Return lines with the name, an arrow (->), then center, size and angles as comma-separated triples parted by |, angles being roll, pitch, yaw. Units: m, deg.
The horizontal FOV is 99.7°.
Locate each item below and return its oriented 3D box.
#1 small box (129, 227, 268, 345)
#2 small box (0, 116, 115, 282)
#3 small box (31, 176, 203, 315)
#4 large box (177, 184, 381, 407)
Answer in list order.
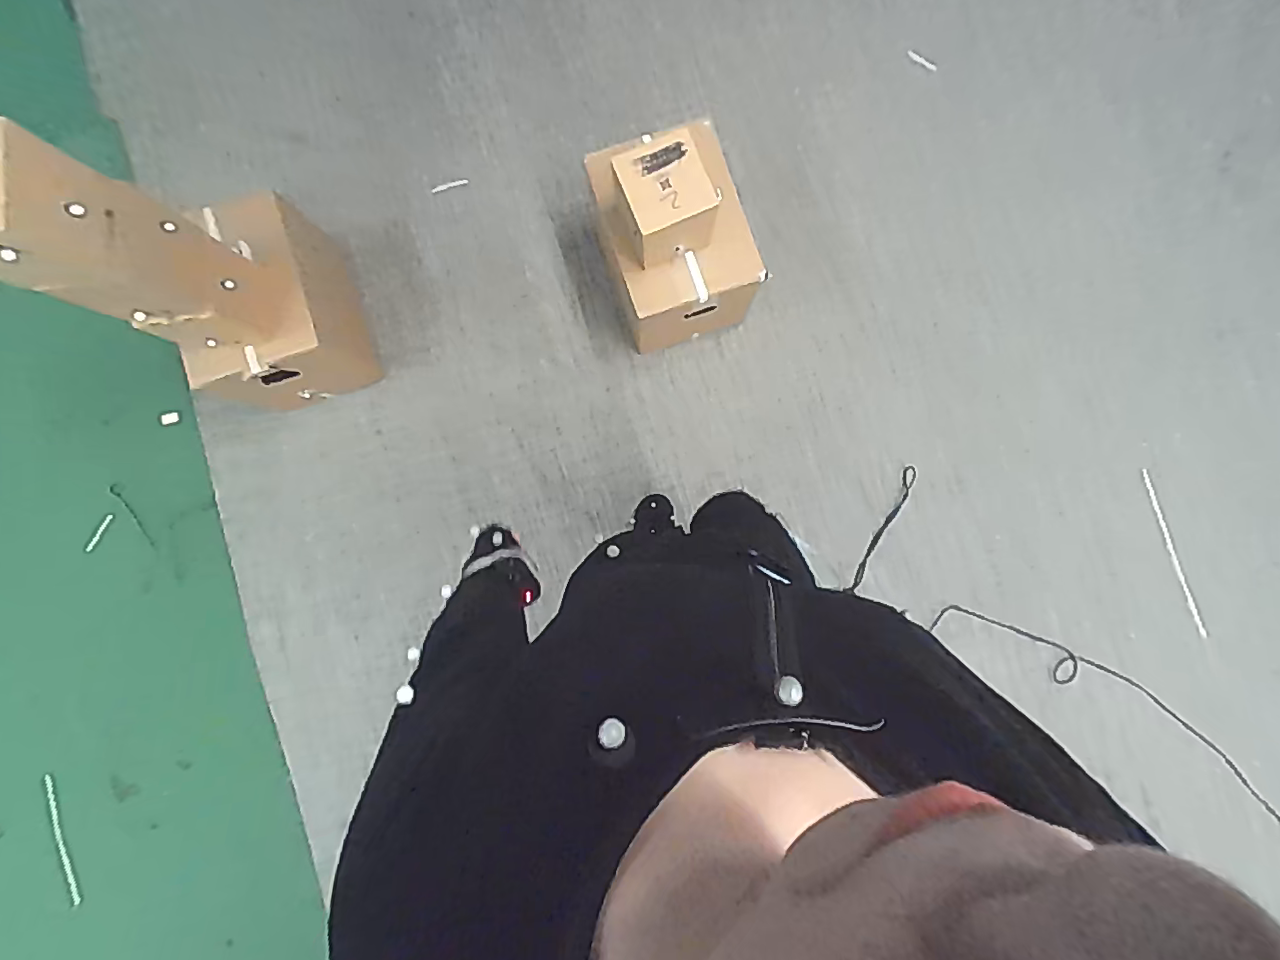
small box -> -0.929, -0.402, 1.143 | 0.168, 0.176, 0.179 | -8, 88, 1
small box -> -0.951, -0.414, 0.817 | 0.179, 0.176, 0.168 | -3, 88, 2
small box -> -0.940, -0.415, 0.981 | 0.168, 0.176, 0.179 | -4, 89, 2
large box -> -0.936, -0.444, 1.388 | 0.320, 0.320, 0.408 | -19, 87, 0
